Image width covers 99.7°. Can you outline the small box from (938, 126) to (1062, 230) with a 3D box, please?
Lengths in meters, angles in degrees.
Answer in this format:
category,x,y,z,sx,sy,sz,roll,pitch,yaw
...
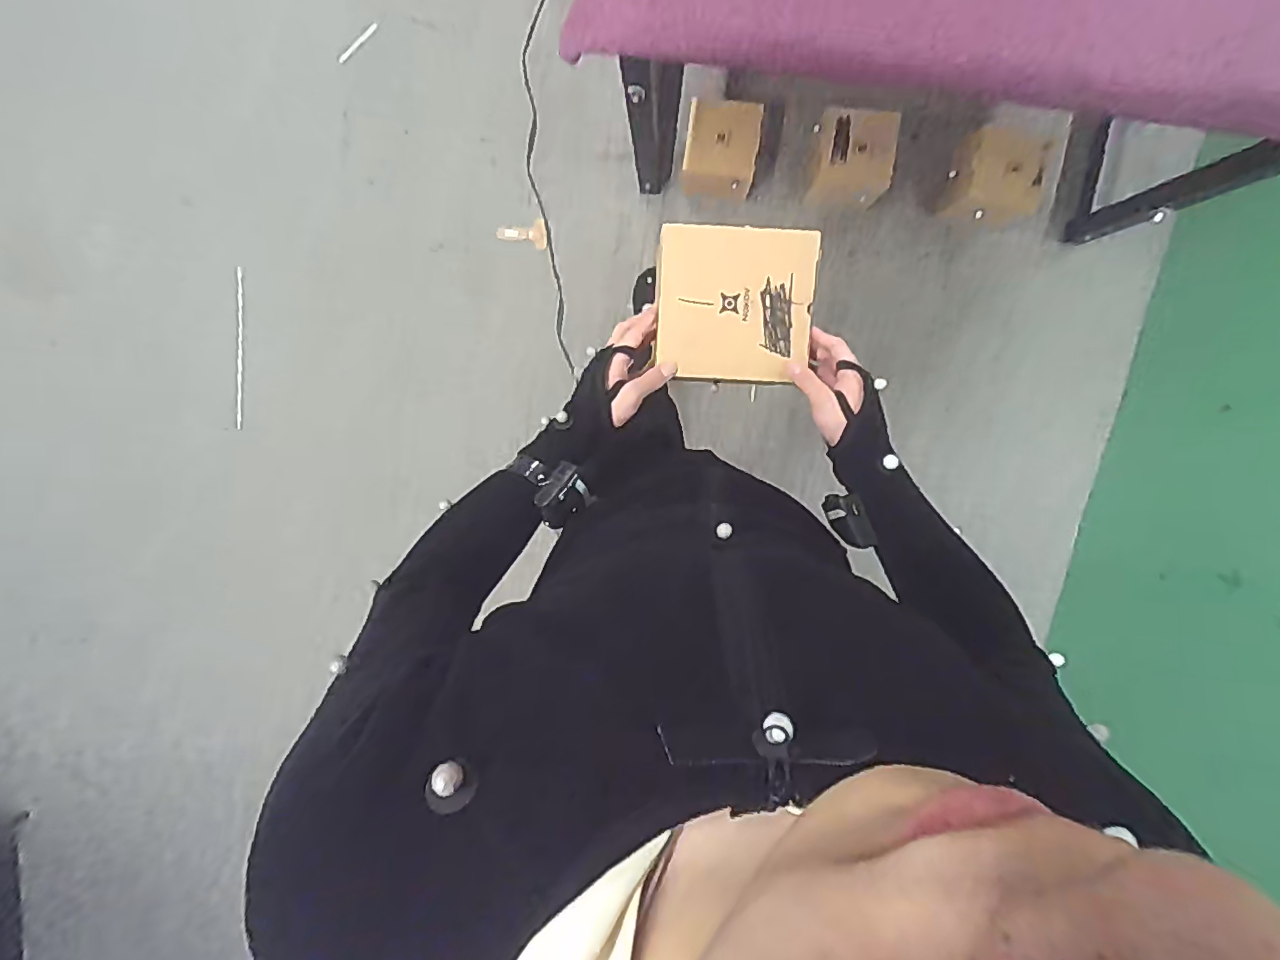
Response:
category,x,y,z,sx,sy,sz,roll,pitch,yaw
small box,0.874,-0.735,1.334,0.179,0.176,0.168,12,100,2

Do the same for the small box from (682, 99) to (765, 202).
category,x,y,z,sx,sy,sz,roll,pitch,yaw
small box,0.204,-0.822,1.365,0.179,0.176,0.168,8,100,2
